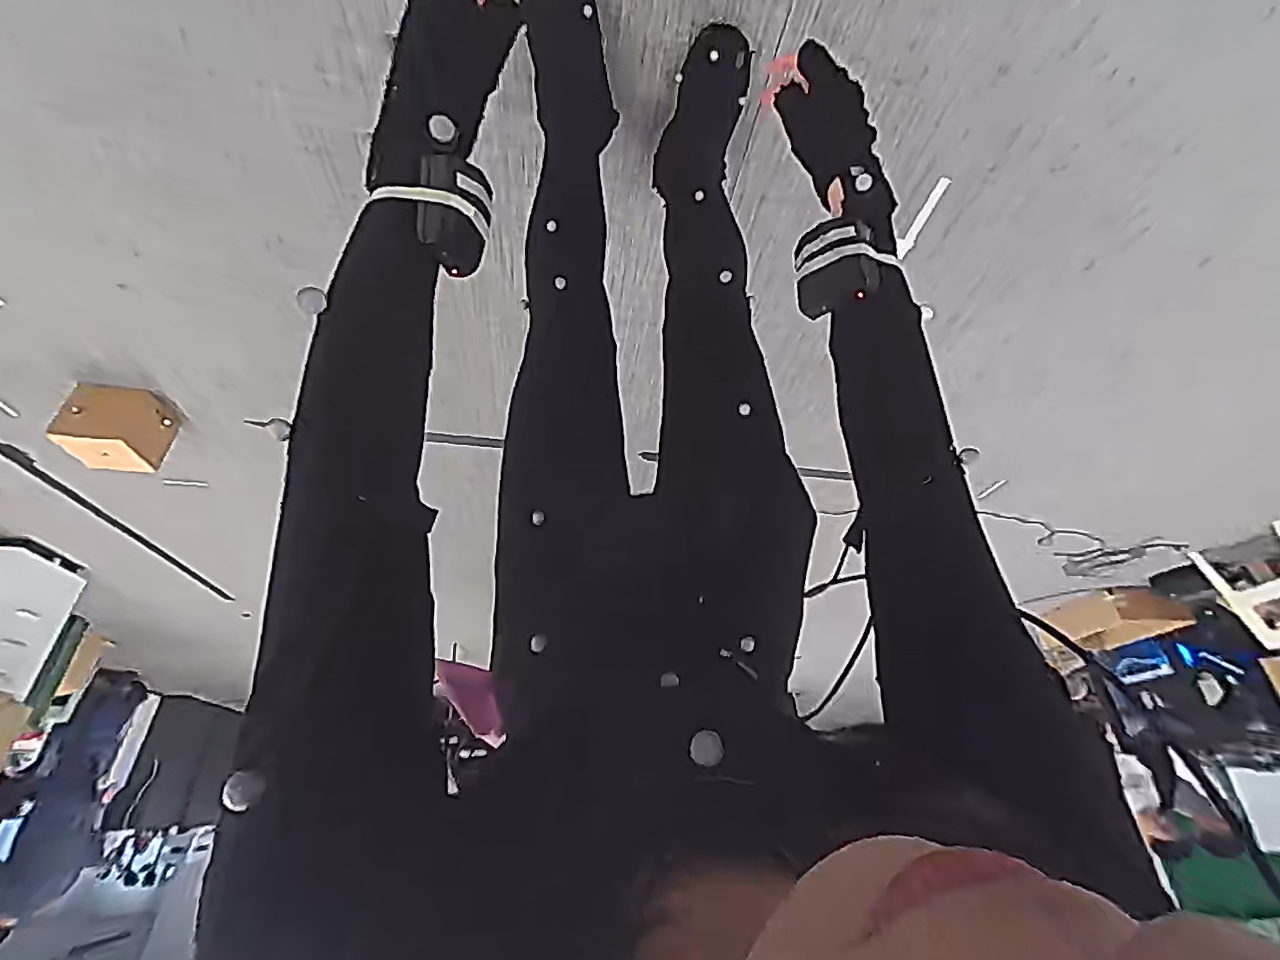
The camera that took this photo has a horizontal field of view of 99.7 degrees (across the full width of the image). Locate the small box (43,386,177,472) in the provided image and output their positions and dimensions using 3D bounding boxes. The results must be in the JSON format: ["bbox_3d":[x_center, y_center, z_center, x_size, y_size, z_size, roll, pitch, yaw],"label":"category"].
[{"bbox_3d":[-1.433,-0.140,1.478,0.179,0.176,0.168,4,149,-9],"label":"small box"}]
